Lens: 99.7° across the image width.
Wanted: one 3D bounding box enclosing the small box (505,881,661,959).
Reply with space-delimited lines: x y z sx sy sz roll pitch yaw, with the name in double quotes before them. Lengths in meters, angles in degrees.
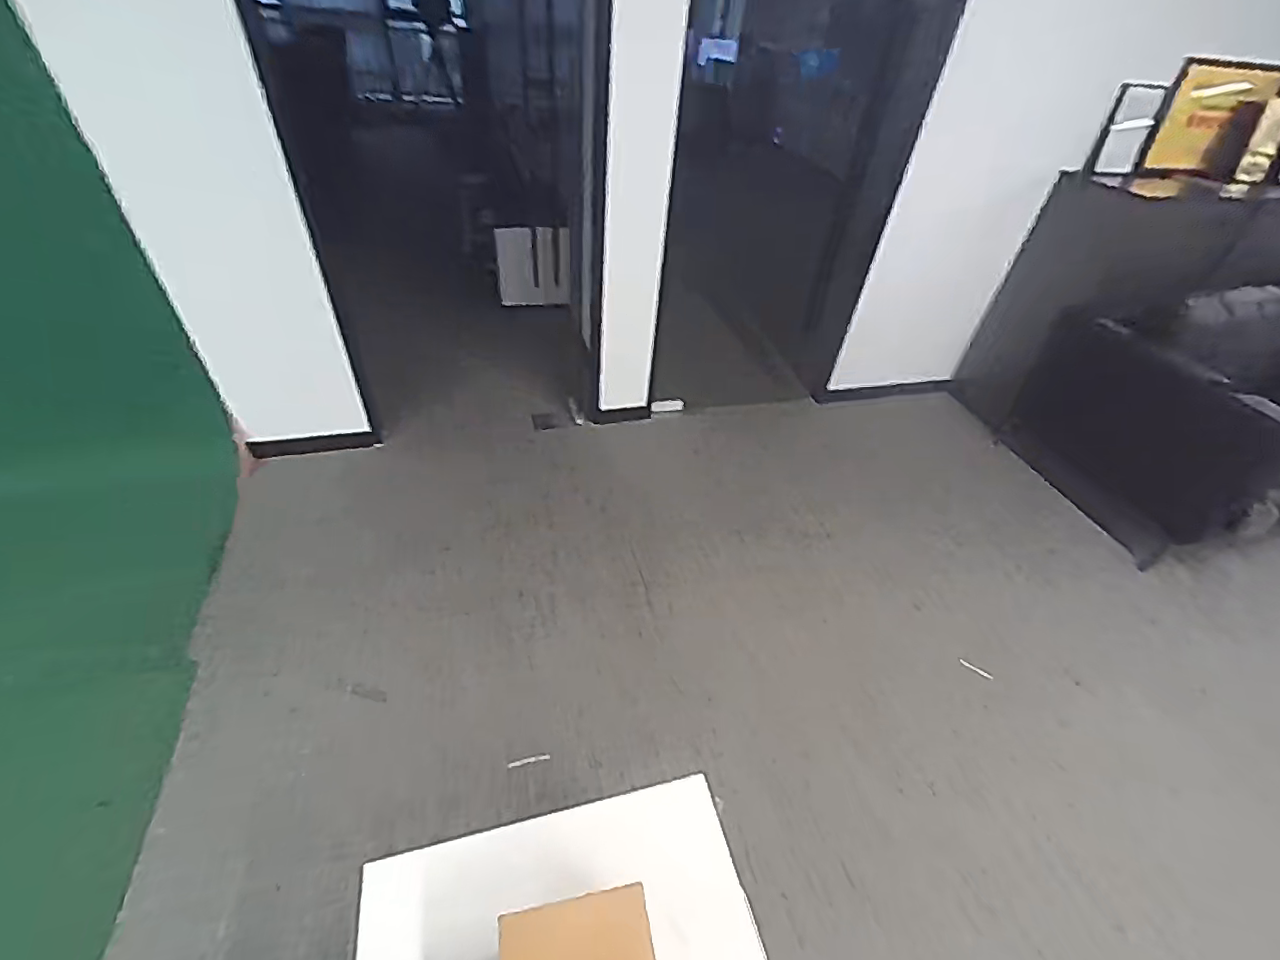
"small box" -0.060 0.587 0.600 0.168 0.176 0.179 -5 43 -12
